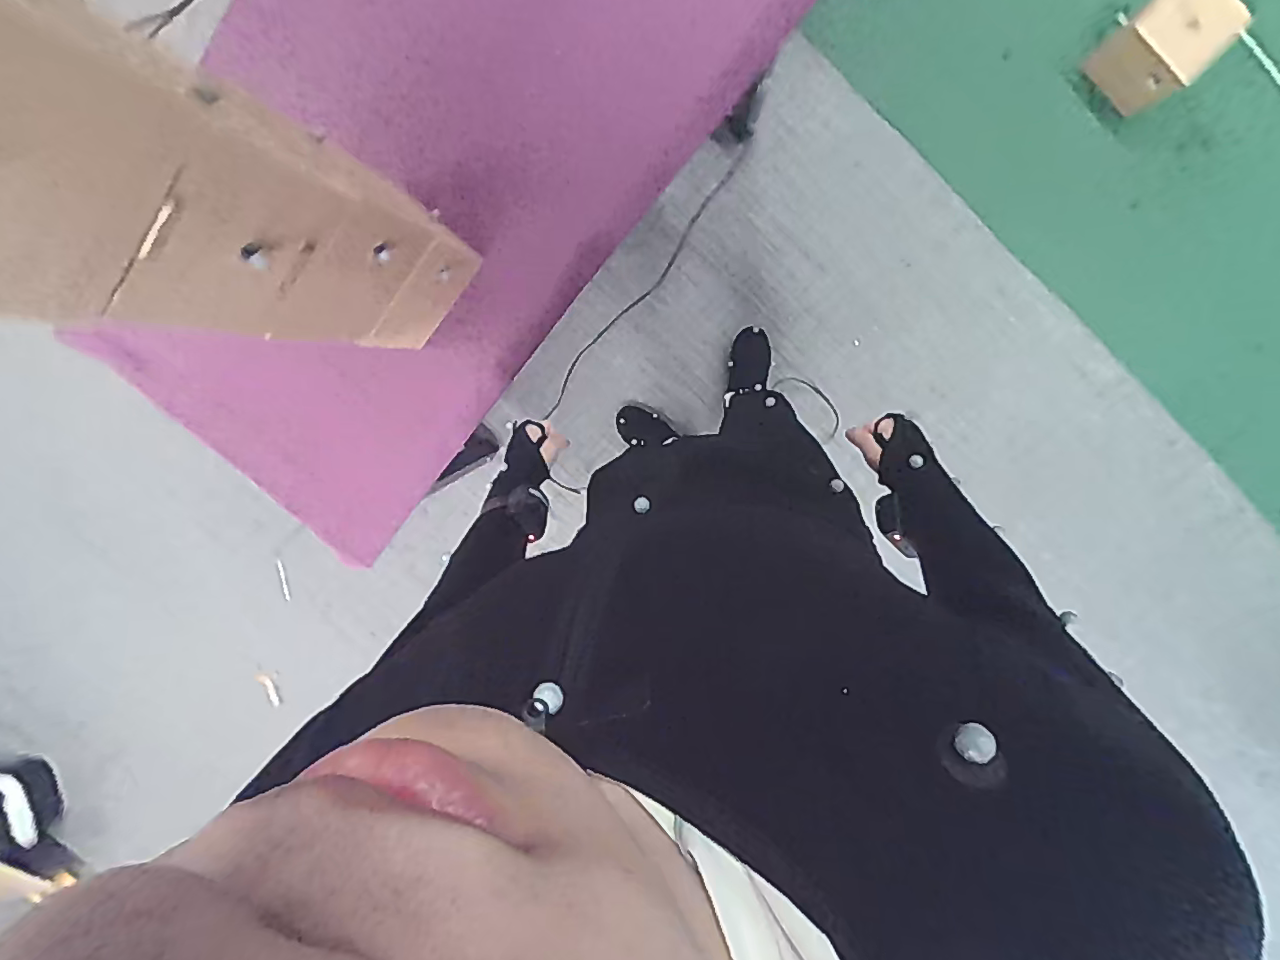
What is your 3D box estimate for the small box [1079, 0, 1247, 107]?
[{"bbox_3d":[1.168,-0.990,1.224,0.179,0.176,0.168,42,102,-5],"label":"small box"}]
